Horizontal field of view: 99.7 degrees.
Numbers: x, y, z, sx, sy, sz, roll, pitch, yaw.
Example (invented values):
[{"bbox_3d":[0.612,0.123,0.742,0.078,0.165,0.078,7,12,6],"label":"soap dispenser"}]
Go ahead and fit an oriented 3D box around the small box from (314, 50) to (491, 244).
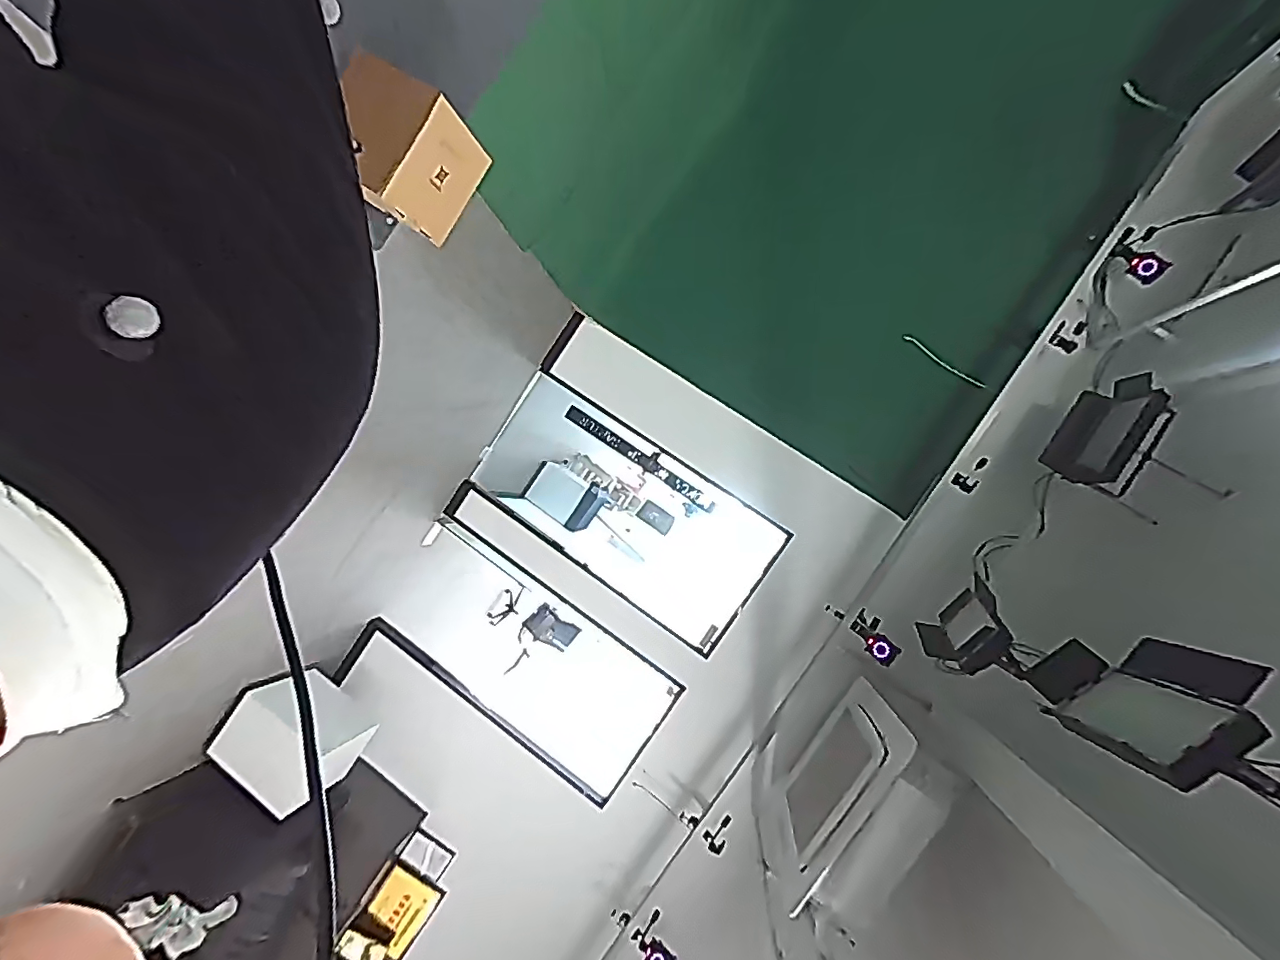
[{"bbox_3d":[-0.385,-0.533,0.880,0.179,0.176,0.168,-57,171,4],"label":"small box"}]
